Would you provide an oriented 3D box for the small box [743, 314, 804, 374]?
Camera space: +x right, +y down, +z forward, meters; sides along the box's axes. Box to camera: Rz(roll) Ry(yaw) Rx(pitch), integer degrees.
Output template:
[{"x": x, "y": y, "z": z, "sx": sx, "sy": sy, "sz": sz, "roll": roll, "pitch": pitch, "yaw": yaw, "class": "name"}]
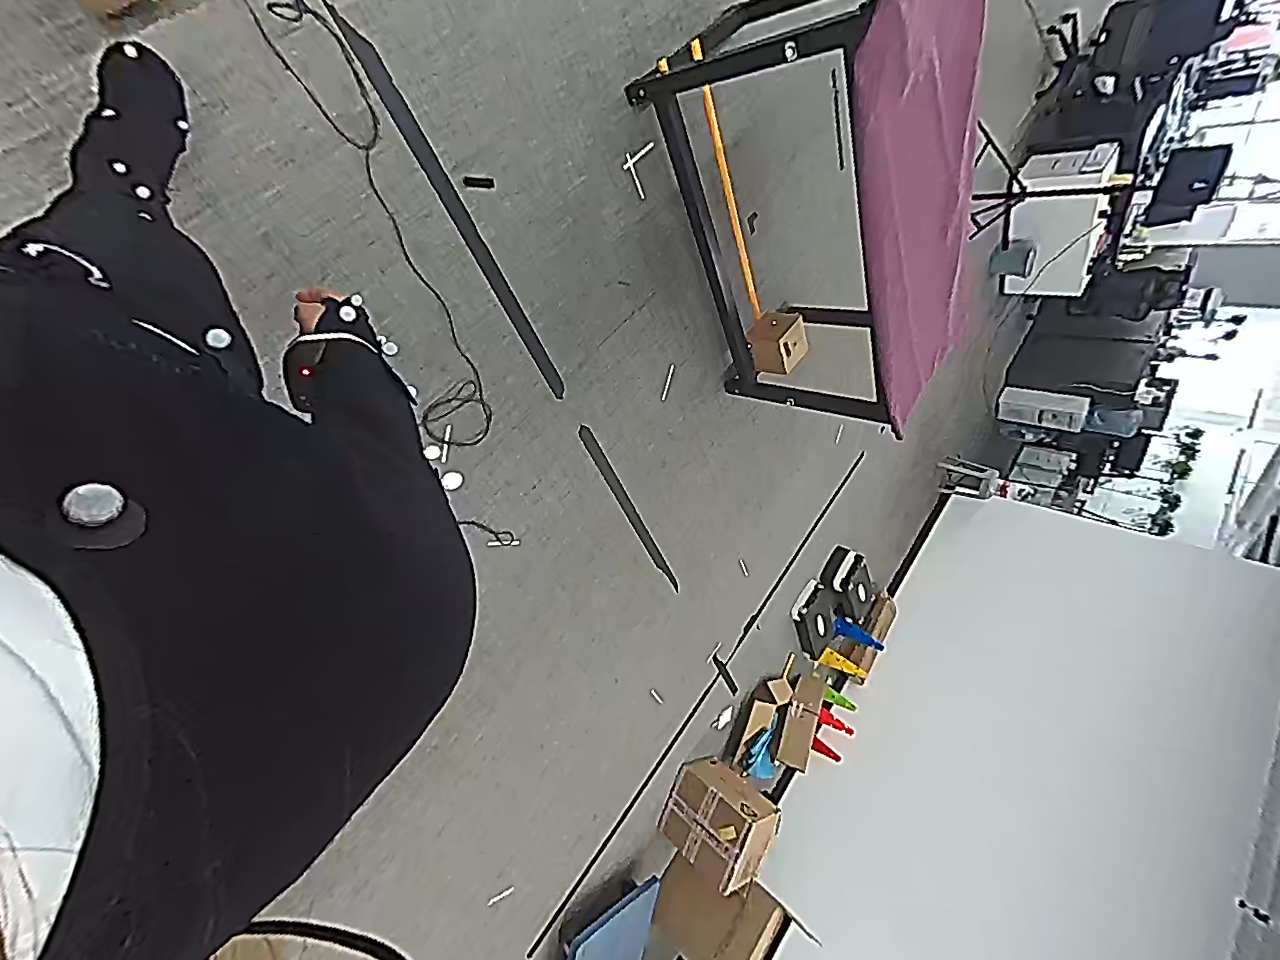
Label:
[{"x": 0.528, "y": -0.546, "z": 2.159, "sx": 0.179, "sy": 0.176, "sz": 0.168, "roll": -49, "pitch": 135, "yaw": -23, "class": "small box"}]
